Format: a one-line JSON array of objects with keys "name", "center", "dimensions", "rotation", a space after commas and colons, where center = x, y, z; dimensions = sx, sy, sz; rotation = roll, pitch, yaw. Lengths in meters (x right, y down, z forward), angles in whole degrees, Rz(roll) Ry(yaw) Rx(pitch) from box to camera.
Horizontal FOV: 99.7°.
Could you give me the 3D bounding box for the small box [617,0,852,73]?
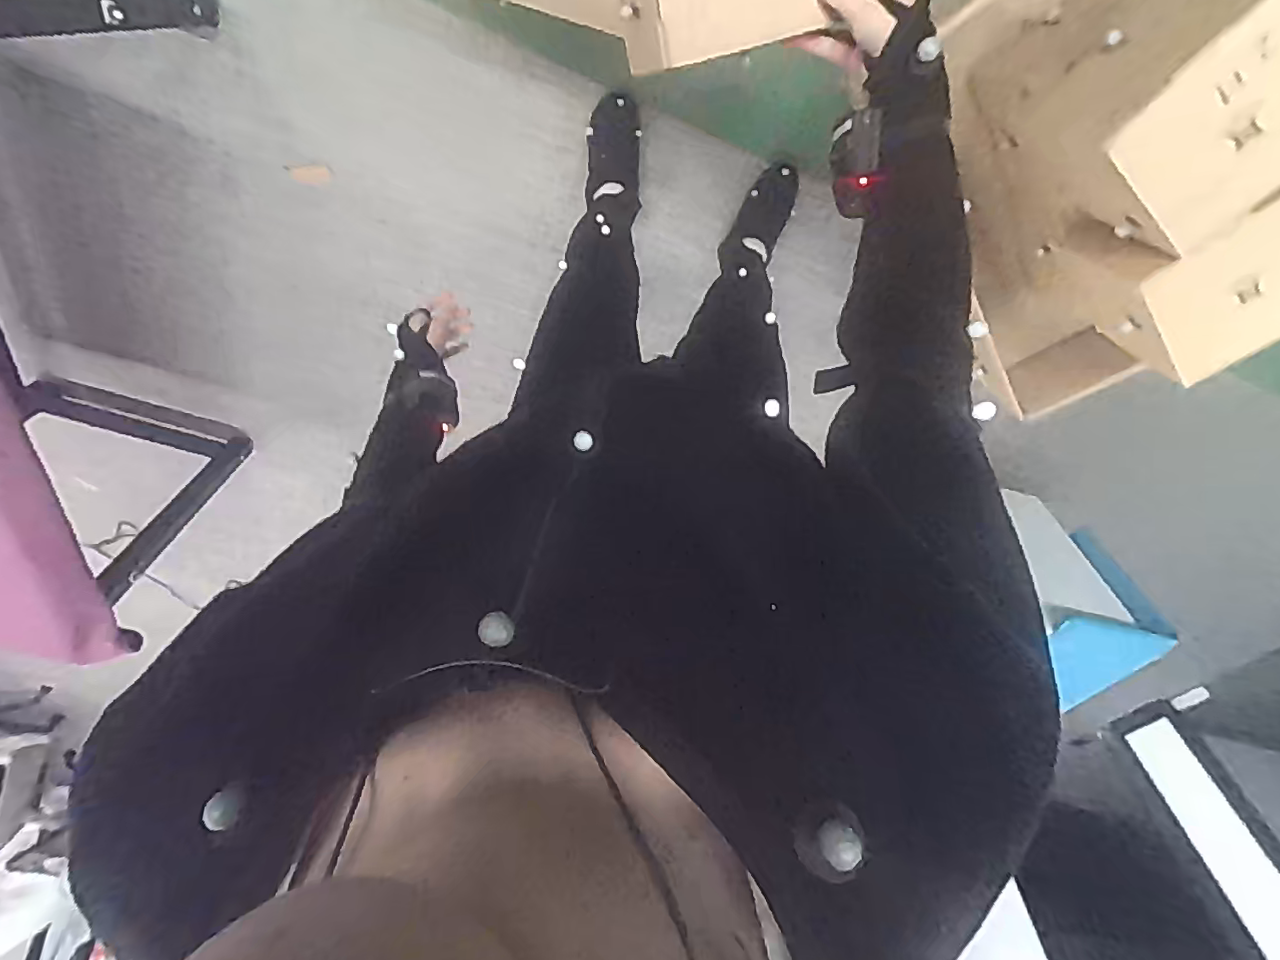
[{"name": "small box", "center": [0.066, -0.478, 0.472], "dimensions": [0.179, 0.176, 0.168], "rotation": [-16, 125, -2]}]
